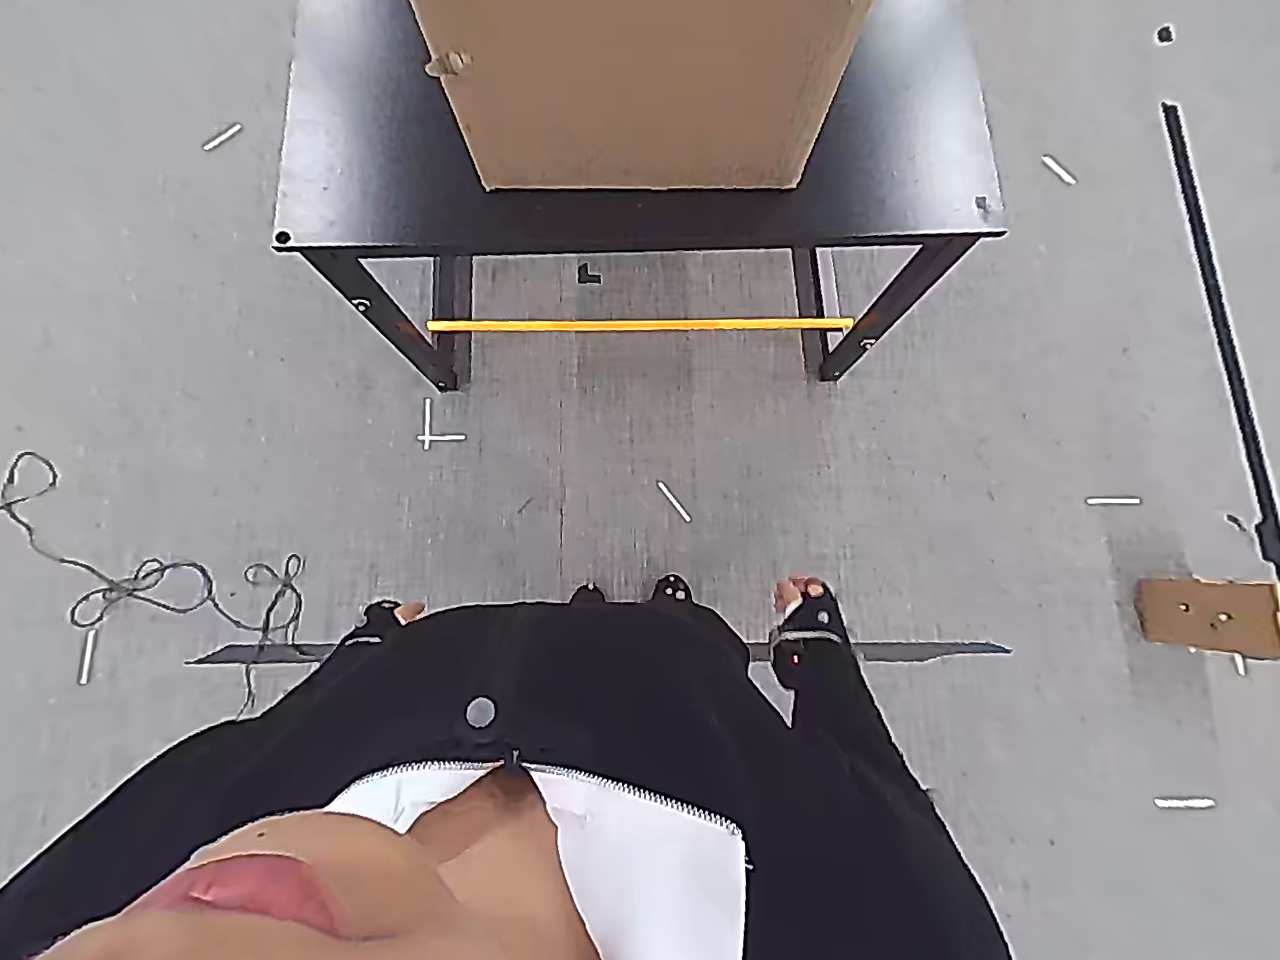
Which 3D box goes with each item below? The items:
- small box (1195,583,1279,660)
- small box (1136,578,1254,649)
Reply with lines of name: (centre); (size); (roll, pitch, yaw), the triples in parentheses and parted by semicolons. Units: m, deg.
small box: (1.479, 0.330, 1.270); (0.179, 0.176, 0.168); (3, 80, 0)
small box: (1.472, 0.352, 1.433); (0.168, 0.176, 0.179); (3, 80, 0)
